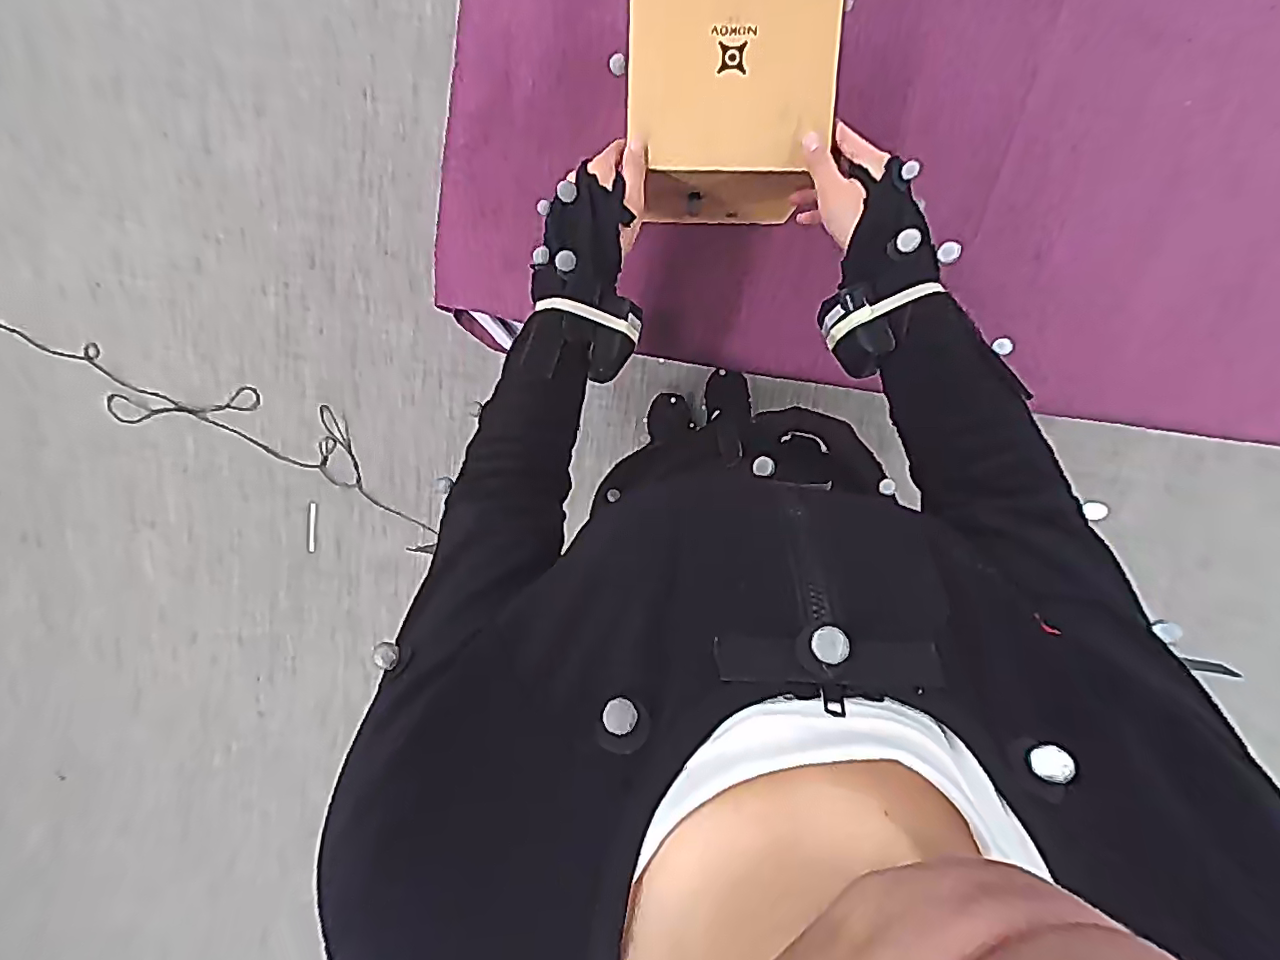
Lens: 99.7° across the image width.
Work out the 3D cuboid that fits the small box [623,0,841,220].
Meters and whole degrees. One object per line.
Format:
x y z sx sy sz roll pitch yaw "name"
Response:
0.075 -0.353 0.500 0.168 0.176 0.179 2 101 2 "small box"
